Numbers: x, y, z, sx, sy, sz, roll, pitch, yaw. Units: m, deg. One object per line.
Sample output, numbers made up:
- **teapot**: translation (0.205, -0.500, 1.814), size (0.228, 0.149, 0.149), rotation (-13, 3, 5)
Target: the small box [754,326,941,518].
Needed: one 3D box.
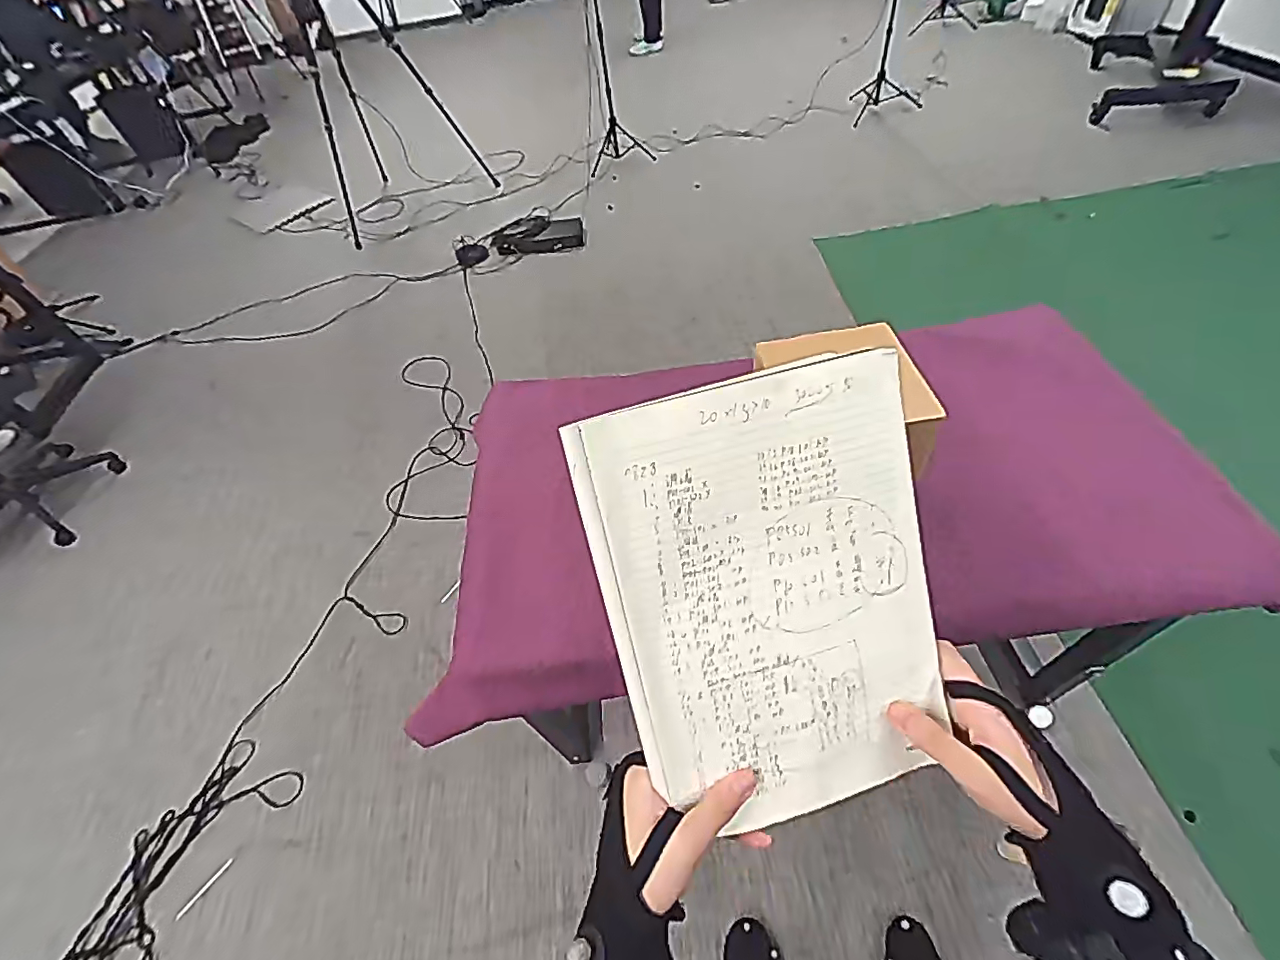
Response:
- **small box**: translation (0.244, -0.065, 0.686), size (0.168, 0.176, 0.179), rotation (-8, 49, 3)
